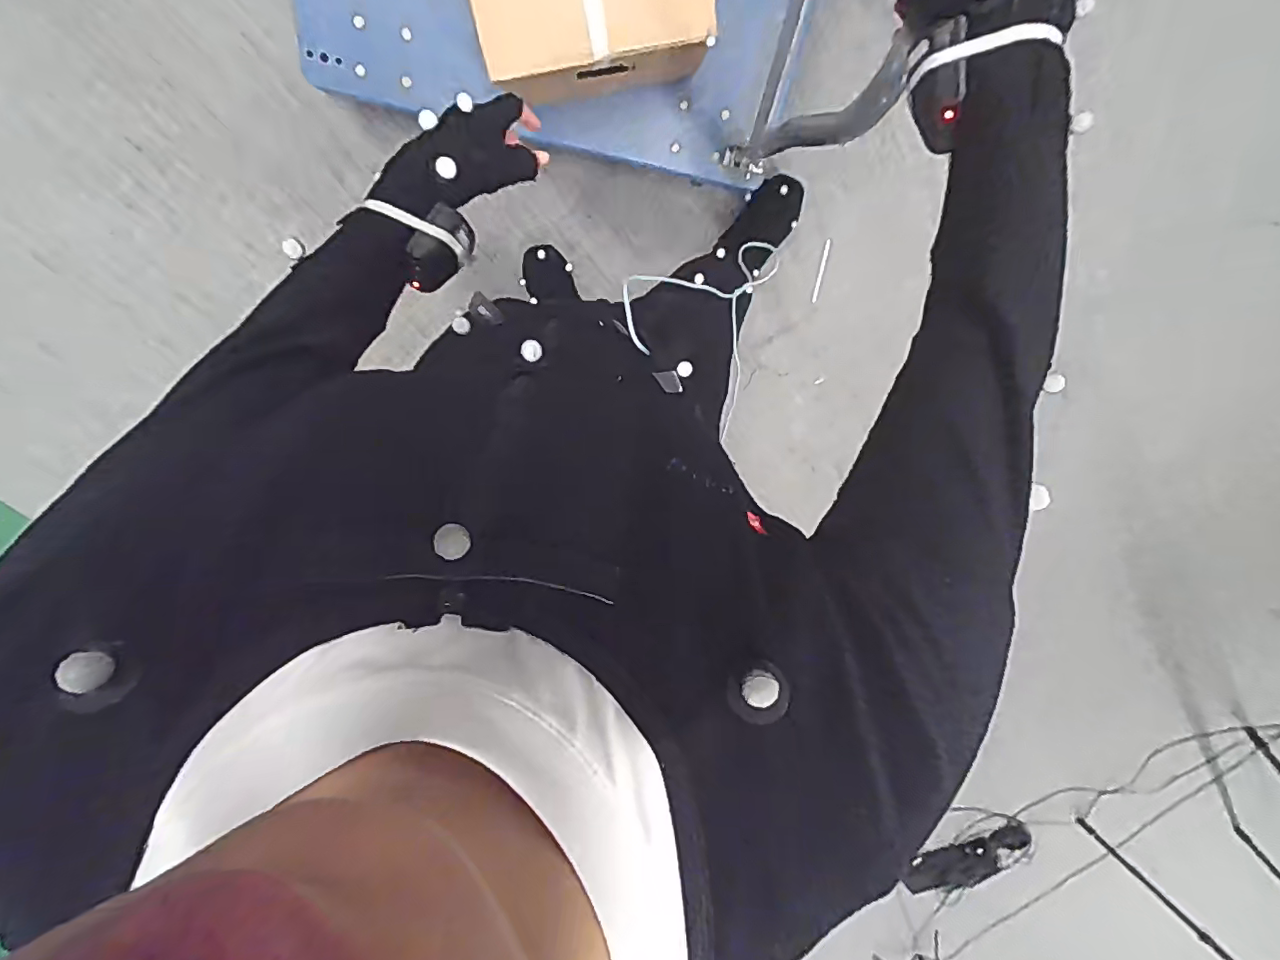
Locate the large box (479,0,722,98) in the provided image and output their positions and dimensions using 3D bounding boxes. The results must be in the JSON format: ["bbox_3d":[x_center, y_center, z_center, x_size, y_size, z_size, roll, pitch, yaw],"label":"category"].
[{"bbox_3d":[-0.080,-0.815,0.754,0.320,0.320,0.408,-8,120,3],"label":"large box"}]
